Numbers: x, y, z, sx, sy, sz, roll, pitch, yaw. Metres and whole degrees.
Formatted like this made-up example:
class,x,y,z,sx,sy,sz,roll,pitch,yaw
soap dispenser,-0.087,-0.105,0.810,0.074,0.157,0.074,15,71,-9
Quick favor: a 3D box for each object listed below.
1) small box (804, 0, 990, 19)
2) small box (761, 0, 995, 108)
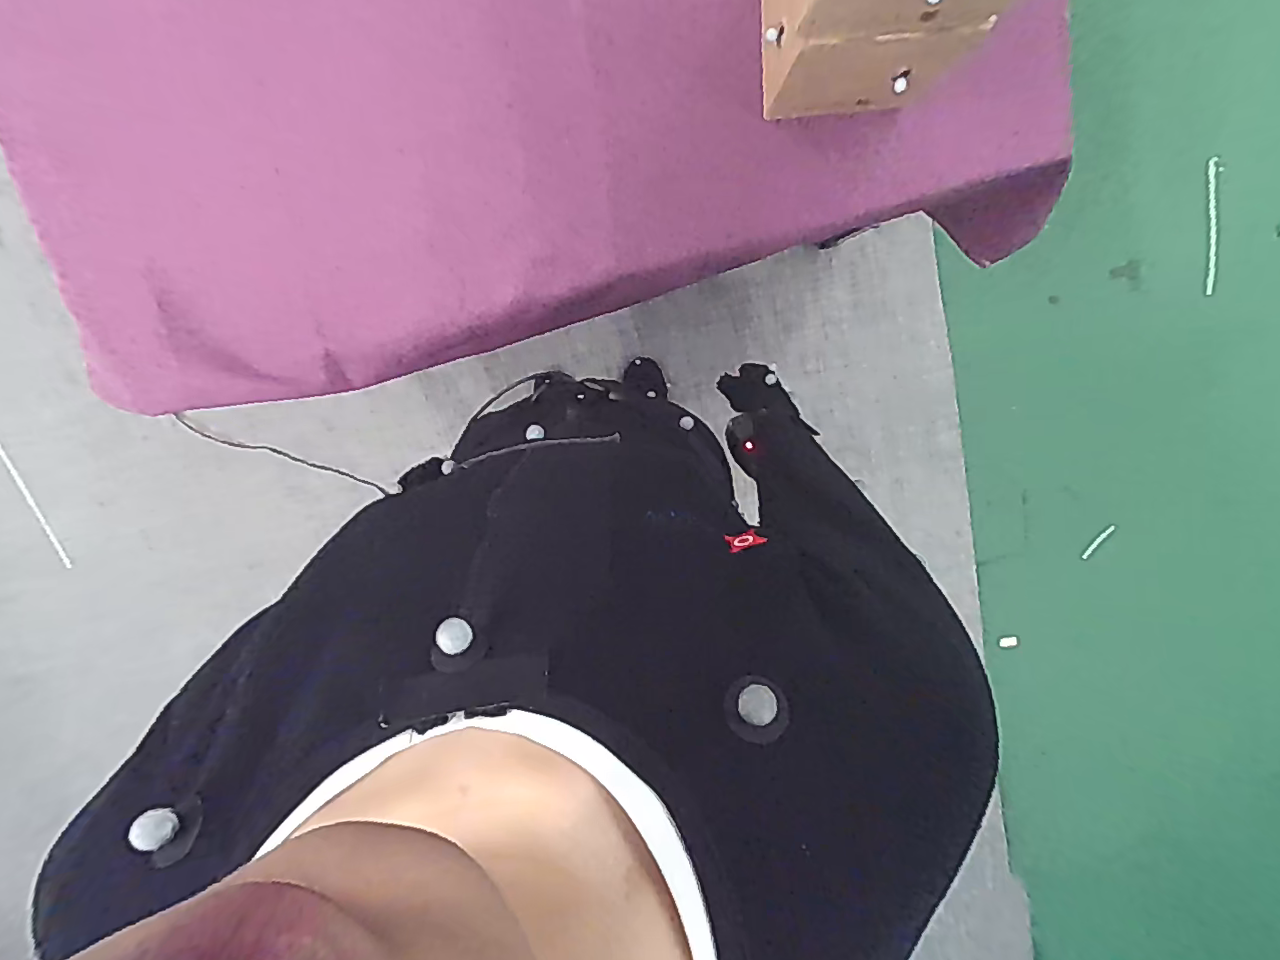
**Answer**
class,x,y,z,sx,sy,sz,roll,pitch,yaw
small box,0.207,-0.448,0.360,0.168,0.176,0.179,-4,105,0
small box,0.216,-0.486,0.520,0.168,0.176,0.179,-4,104,1
